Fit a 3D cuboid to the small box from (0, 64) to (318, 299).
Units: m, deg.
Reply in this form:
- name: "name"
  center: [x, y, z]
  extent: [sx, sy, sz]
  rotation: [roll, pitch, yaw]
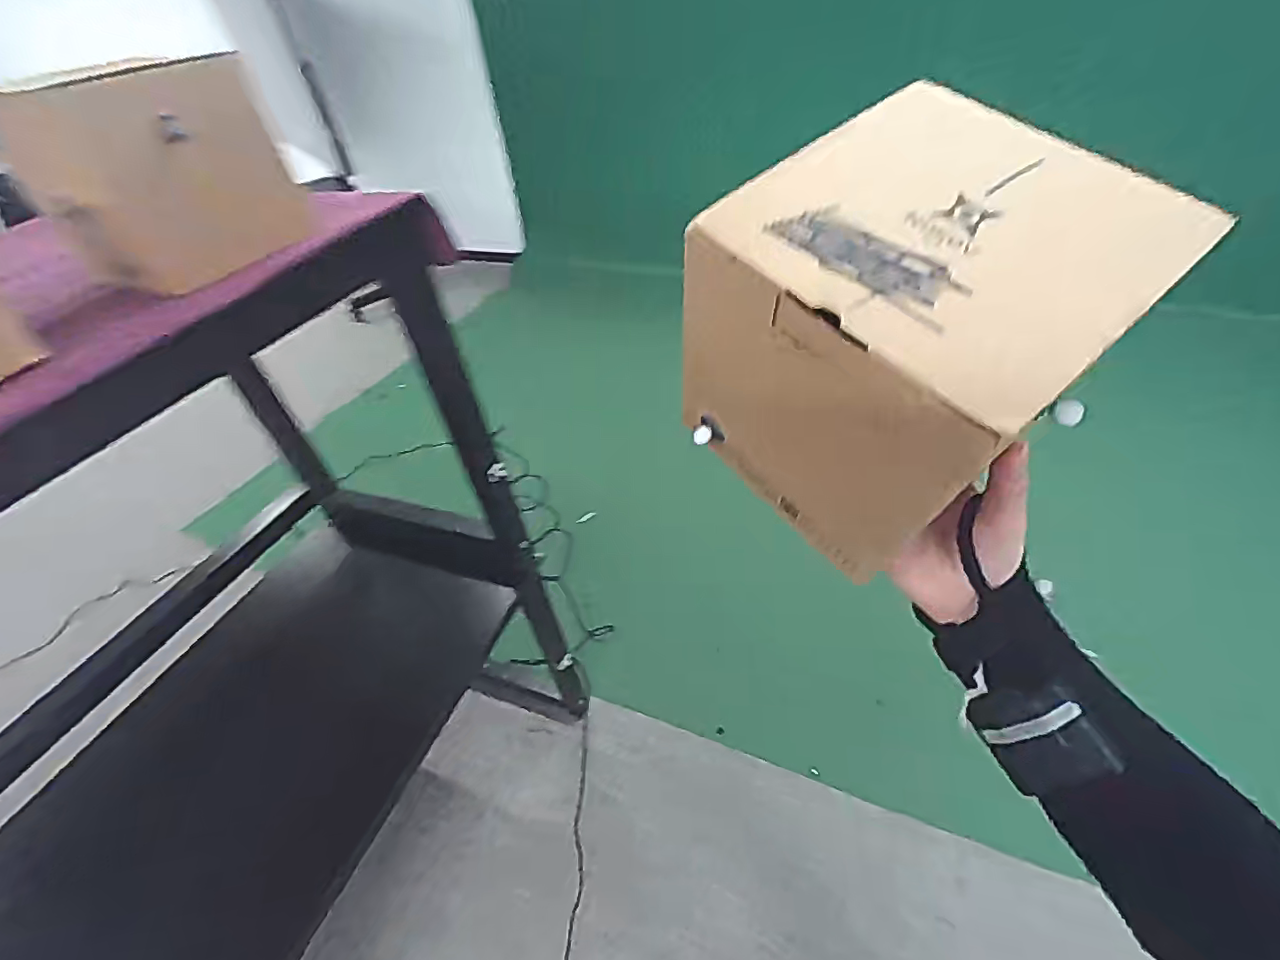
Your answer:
- name: "small box"
  center: [-0.482, -0.303, 0.554]
  extent: [0.168, 0.176, 0.179]
  rotation: [15, 47, 22]
